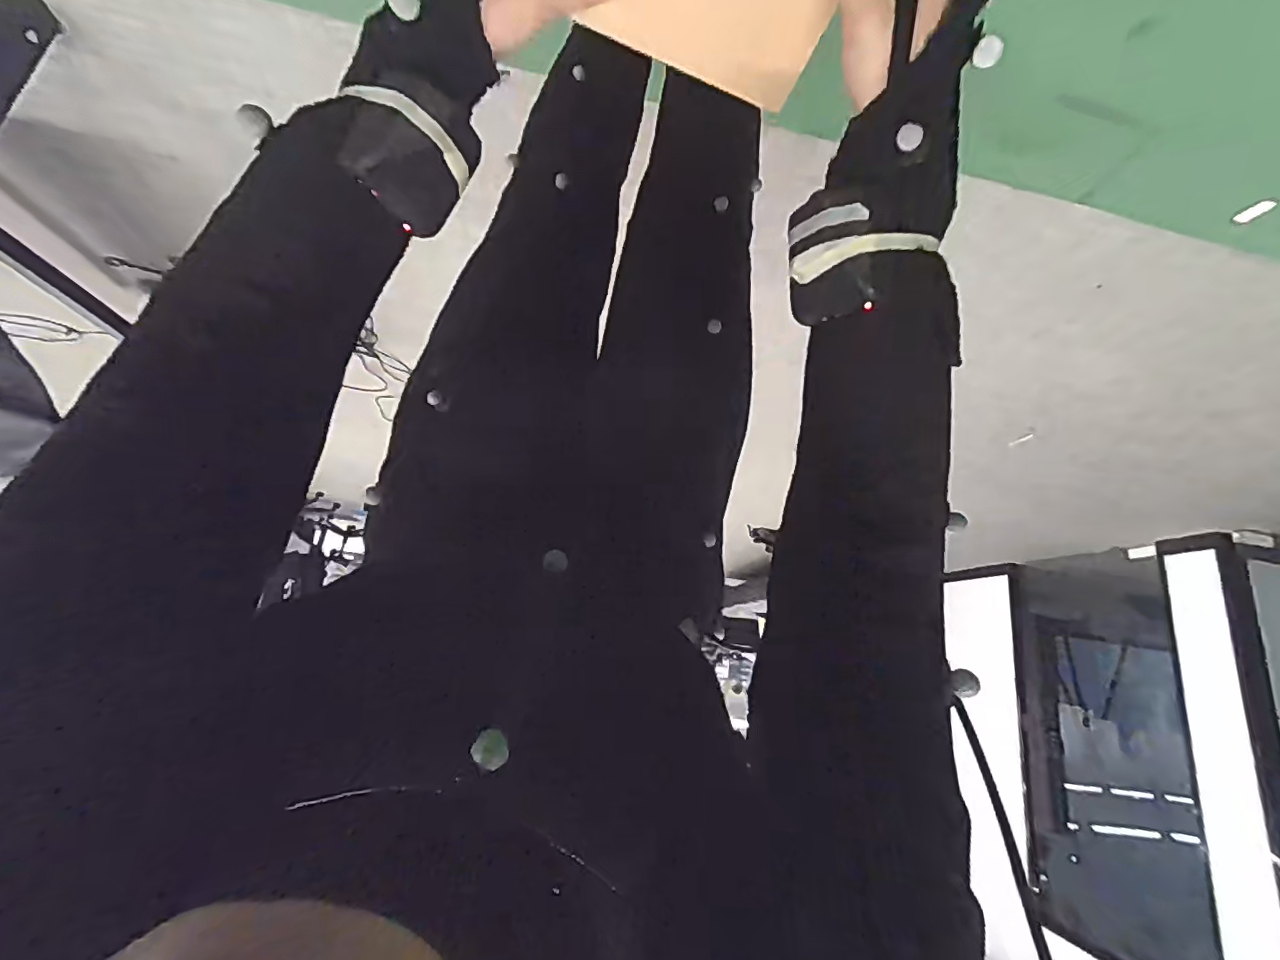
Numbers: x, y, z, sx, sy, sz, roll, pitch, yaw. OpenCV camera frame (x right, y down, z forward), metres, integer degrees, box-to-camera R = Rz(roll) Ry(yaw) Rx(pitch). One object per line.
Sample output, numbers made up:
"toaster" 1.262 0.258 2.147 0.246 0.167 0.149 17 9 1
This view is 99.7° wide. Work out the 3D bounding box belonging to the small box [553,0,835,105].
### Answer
"small box" 0.057 -0.371 0.296 0.168 0.176 0.179 17 160 -11
